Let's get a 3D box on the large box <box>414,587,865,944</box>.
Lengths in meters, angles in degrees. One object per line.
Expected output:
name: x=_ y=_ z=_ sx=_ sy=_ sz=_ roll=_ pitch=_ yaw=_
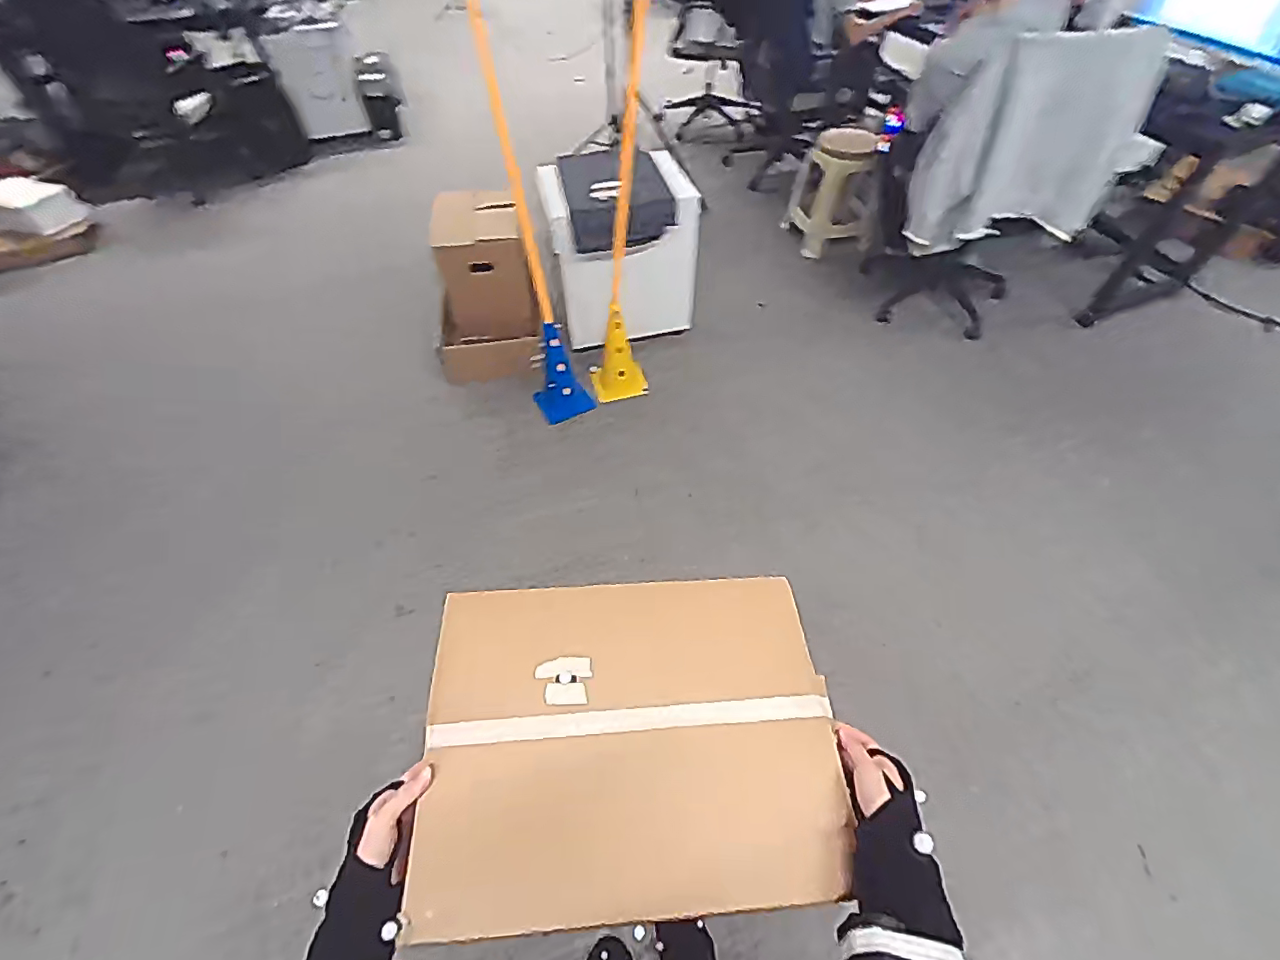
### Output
large box: x=-0.008 y=0.350 z=0.676 sx=0.408 sy=0.320 sz=0.320 roll=-2 pitch=52 yaw=-3
